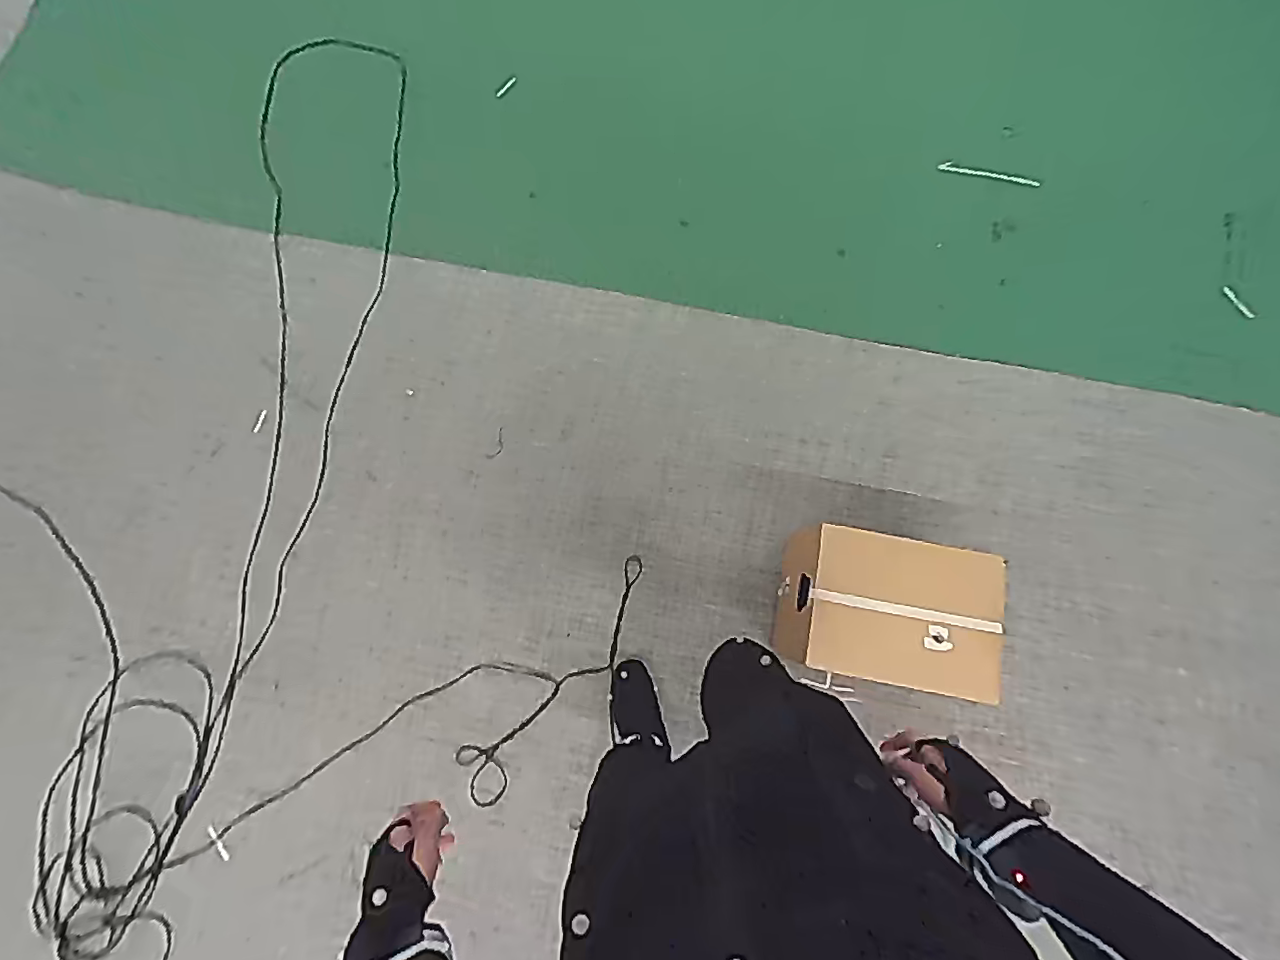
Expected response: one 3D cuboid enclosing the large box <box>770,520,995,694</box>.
[{"bbox_3d":[0.559,0.302,1.310,0.408,0.320,0.320,11,78,2],"label":"large box"}]
